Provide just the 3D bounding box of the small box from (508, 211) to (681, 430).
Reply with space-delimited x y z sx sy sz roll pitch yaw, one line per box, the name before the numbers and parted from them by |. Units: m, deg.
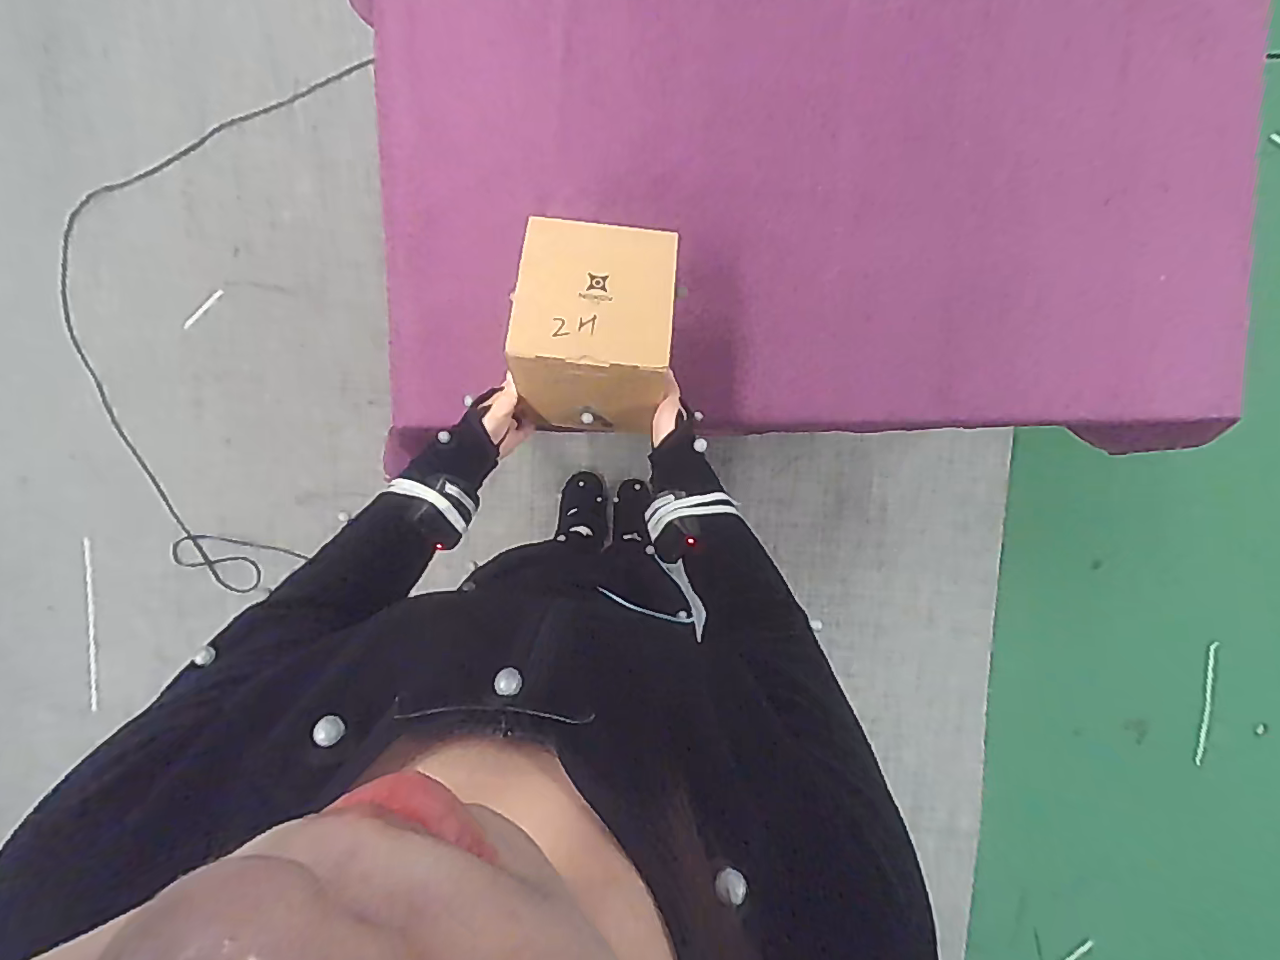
small box | -0.049 -0.177 0.638 0.168 0.176 0.179 5 73 -2
